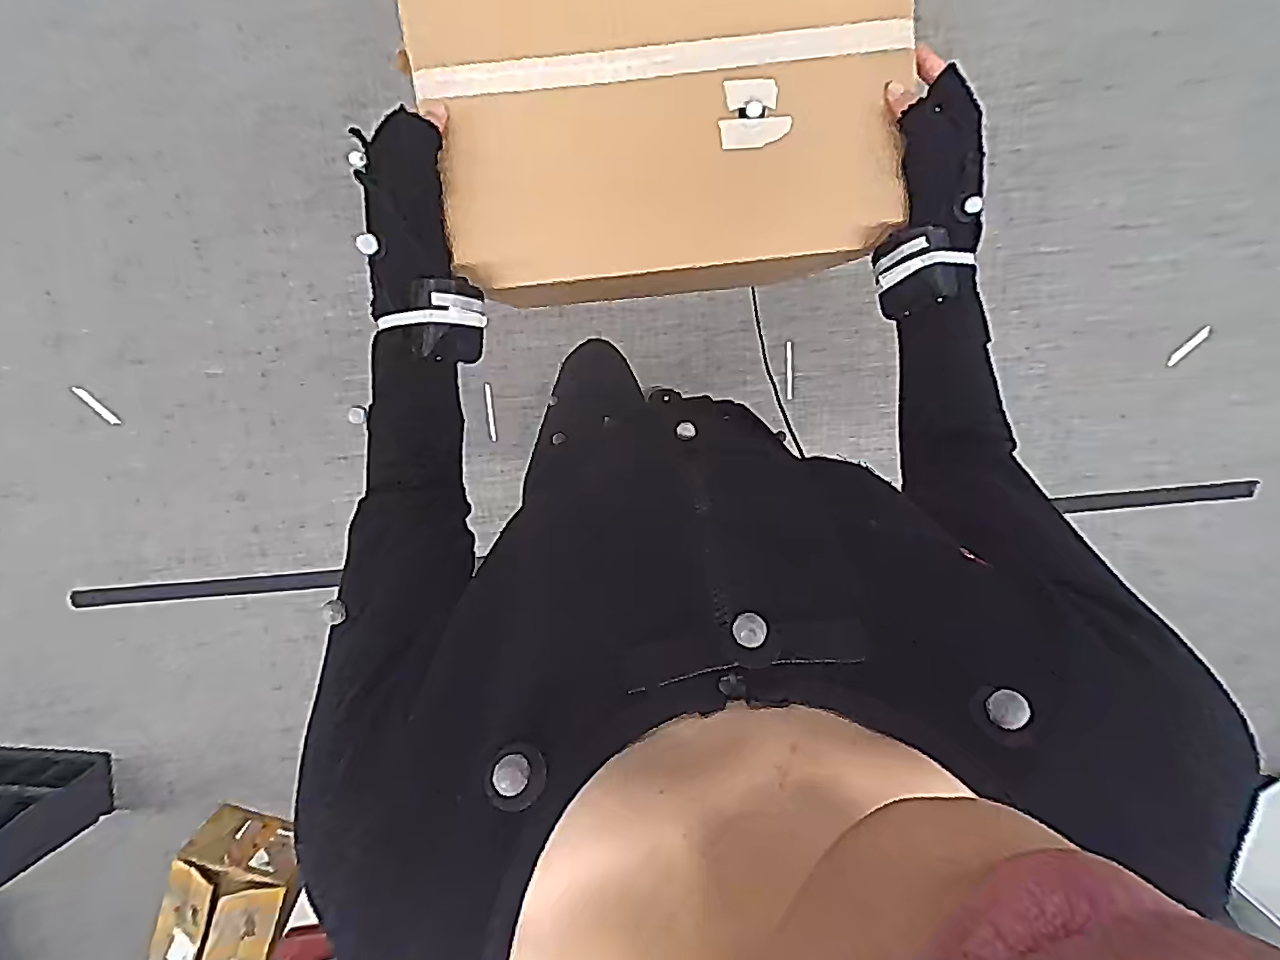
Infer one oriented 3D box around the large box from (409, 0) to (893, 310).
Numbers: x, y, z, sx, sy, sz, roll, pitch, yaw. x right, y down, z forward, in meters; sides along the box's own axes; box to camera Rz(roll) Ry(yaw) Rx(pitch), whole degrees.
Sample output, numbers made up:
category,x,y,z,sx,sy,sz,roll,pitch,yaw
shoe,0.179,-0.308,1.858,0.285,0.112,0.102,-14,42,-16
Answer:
category,x,y,z,sx,sy,sz,roll,pitch,yaw
large box,0.009,-0.383,0.602,0.408,0.320,0.320,-8,105,-2
